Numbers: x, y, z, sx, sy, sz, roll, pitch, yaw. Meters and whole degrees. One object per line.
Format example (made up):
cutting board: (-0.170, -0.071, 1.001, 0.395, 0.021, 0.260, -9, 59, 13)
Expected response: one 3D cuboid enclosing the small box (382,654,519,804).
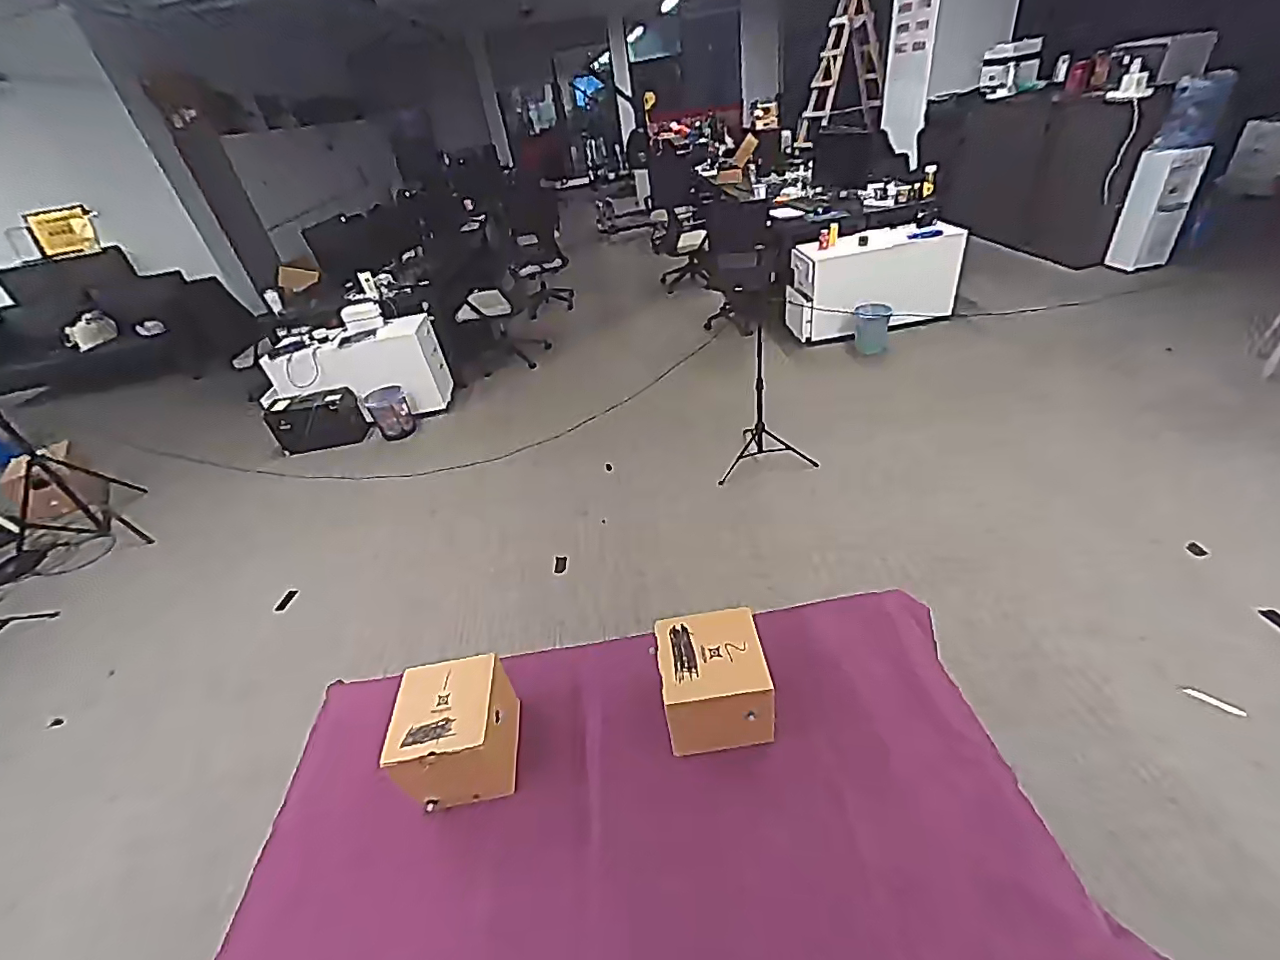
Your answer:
small box: (-0.317, 0.440, 0.947, 0.168, 0.176, 0.179, -10, 36, 0)
